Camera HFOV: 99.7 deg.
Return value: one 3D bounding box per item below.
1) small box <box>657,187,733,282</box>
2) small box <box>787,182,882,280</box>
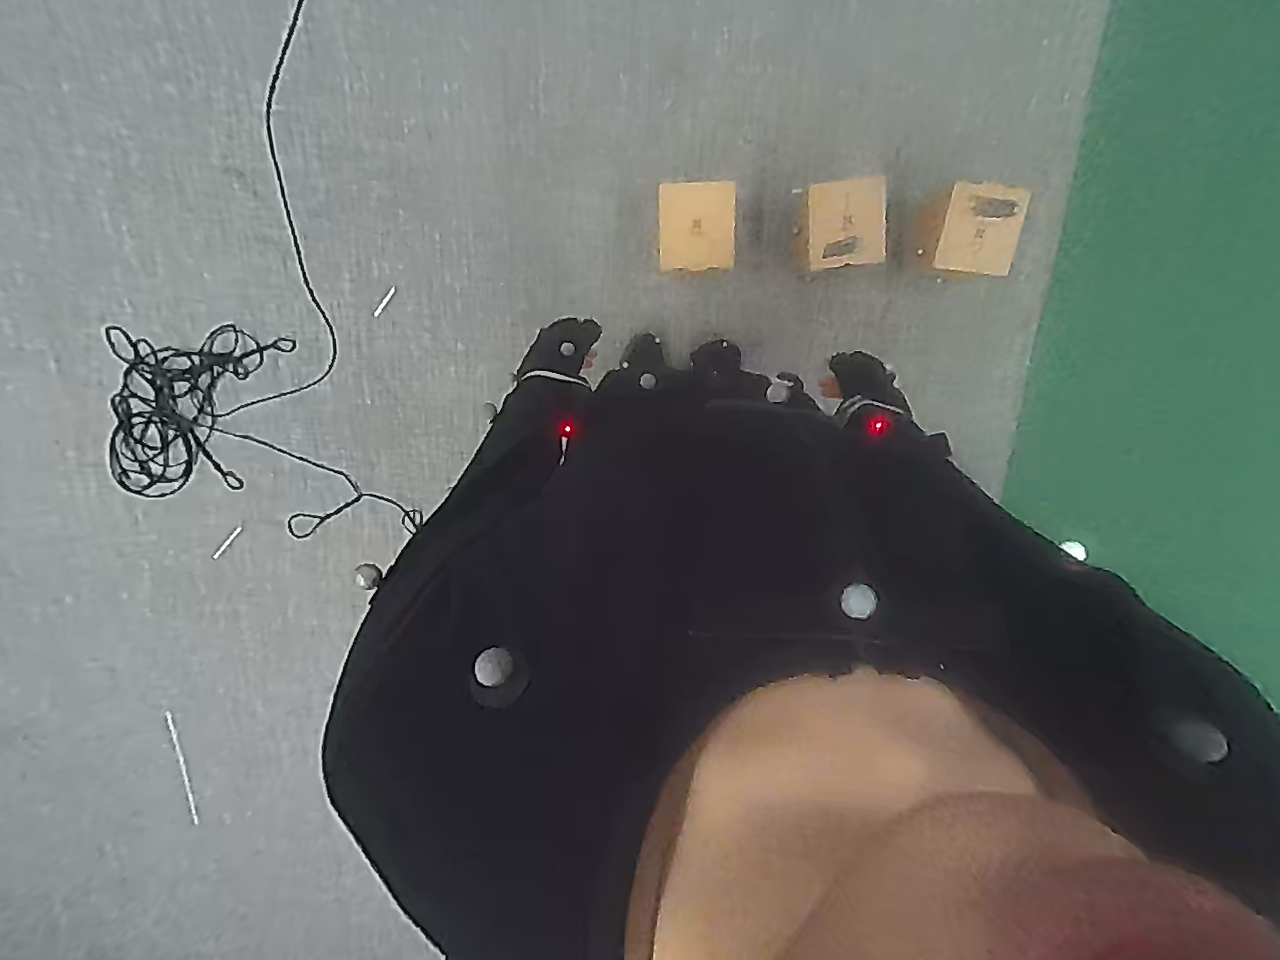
[{"bbox_3d":[0.122,-0.560,1.252,0.168,0.176,0.179,-1,106,3],"label":"small box"},{"bbox_3d":[0.439,-0.559,1.238,0.168,0.176,0.179,-5,104,3],"label":"small box"}]
